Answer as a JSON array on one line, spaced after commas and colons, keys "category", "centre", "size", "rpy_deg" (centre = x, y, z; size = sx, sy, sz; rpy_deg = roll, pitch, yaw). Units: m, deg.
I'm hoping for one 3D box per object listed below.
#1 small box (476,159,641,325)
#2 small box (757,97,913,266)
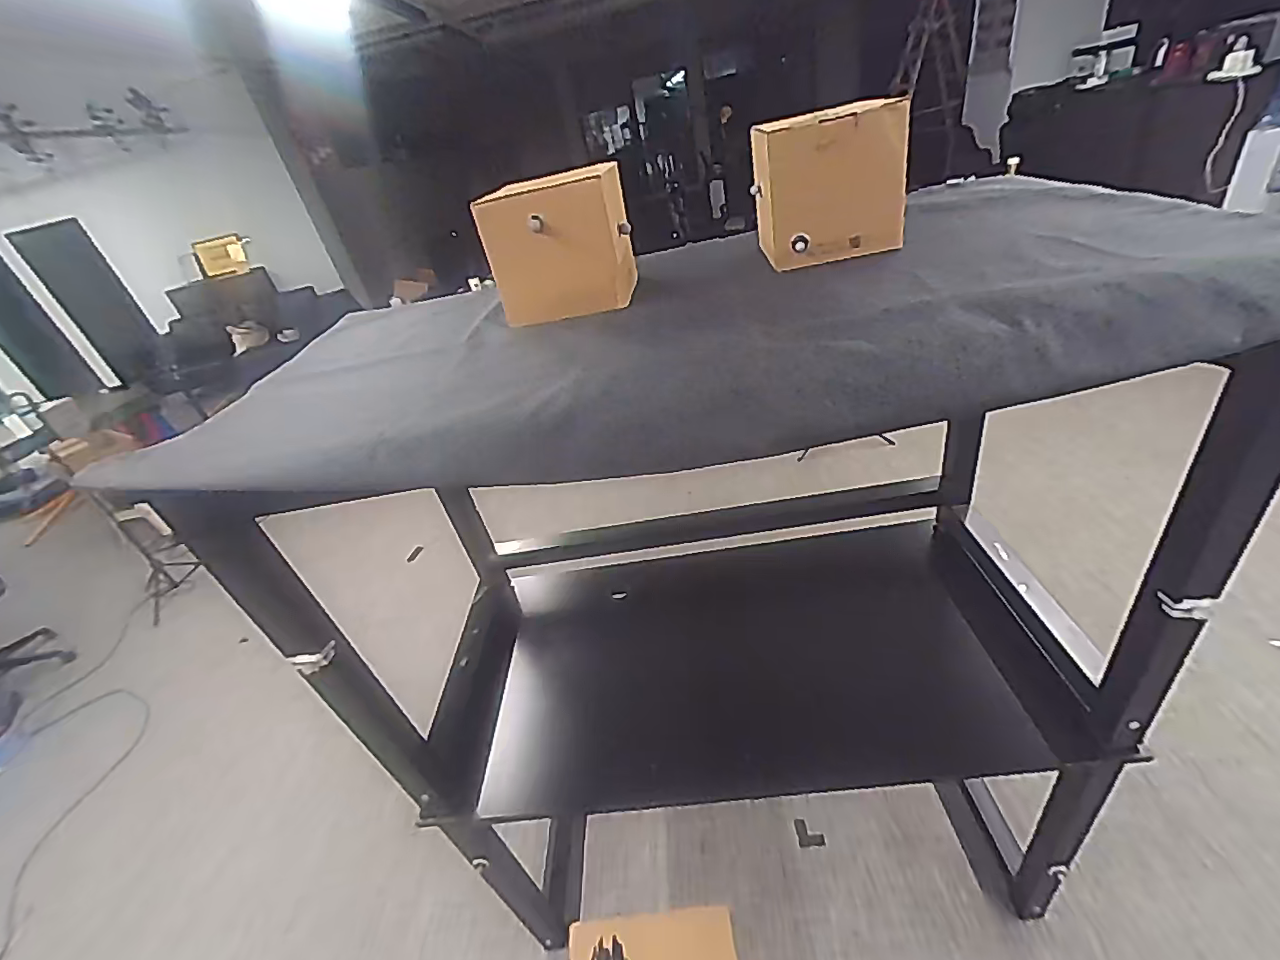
[{"category": "small box", "centre": [-0.100, -0.340, 0.776], "size": [0.179, 0.176, 0.168], "rpy_deg": [-6, 34, 11]}, {"category": "small box", "centre": [0.259, -0.407, 0.747], "size": [0.168, 0.176, 0.179], "rpy_deg": [-7, 33, 9]}]
